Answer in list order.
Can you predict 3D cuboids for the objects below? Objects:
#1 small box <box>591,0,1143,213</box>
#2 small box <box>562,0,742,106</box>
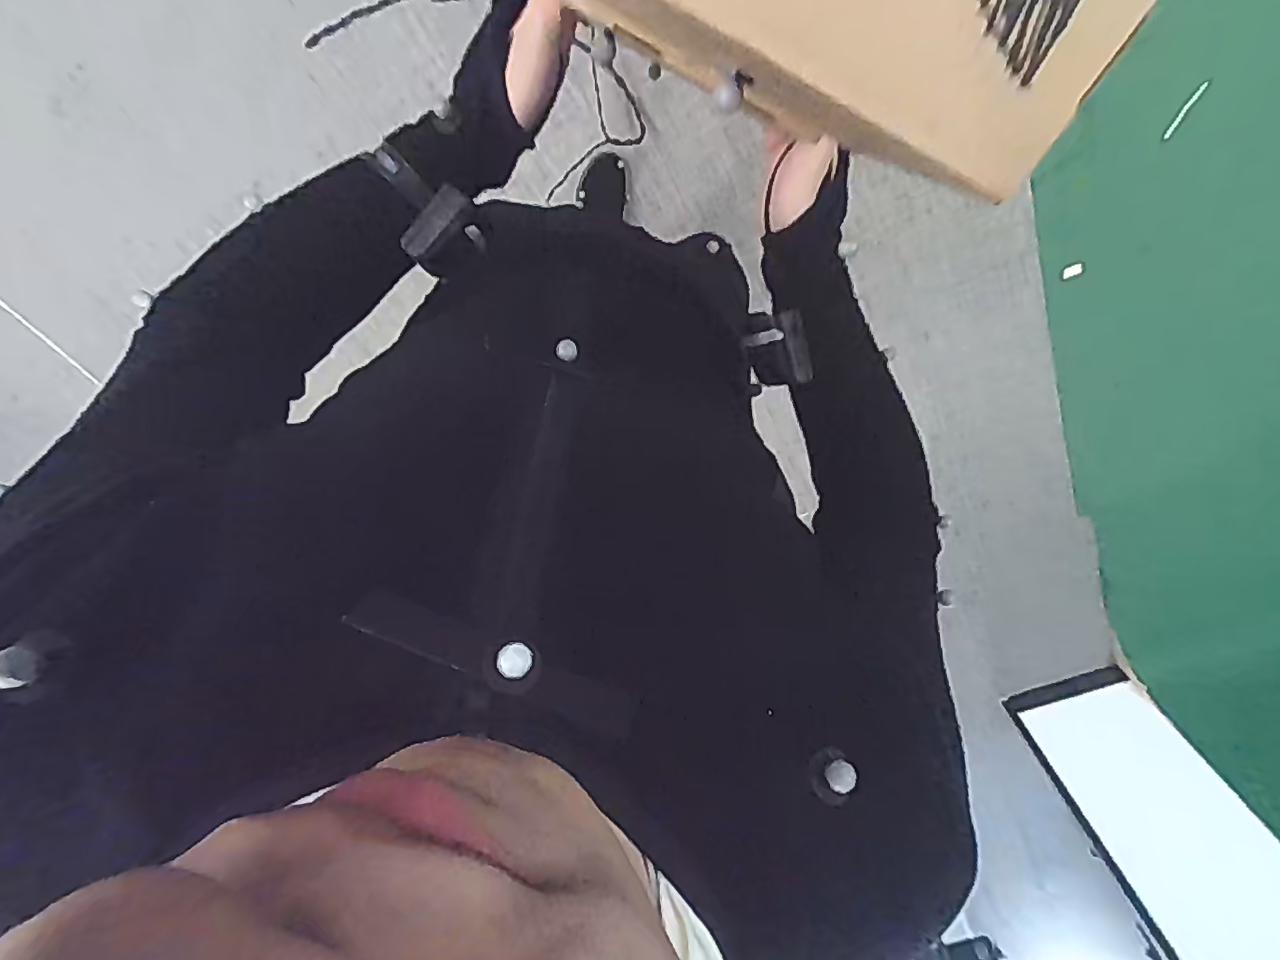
[{"bbox_3d":[0.065,-0.222,0.171,0.179,0.176,0.168,19,126,-17],"label":"small box"},{"bbox_3d":[0.042,-0.434,0.421,0.168,0.176,0.179,19,125,-18],"label":"small box"}]
